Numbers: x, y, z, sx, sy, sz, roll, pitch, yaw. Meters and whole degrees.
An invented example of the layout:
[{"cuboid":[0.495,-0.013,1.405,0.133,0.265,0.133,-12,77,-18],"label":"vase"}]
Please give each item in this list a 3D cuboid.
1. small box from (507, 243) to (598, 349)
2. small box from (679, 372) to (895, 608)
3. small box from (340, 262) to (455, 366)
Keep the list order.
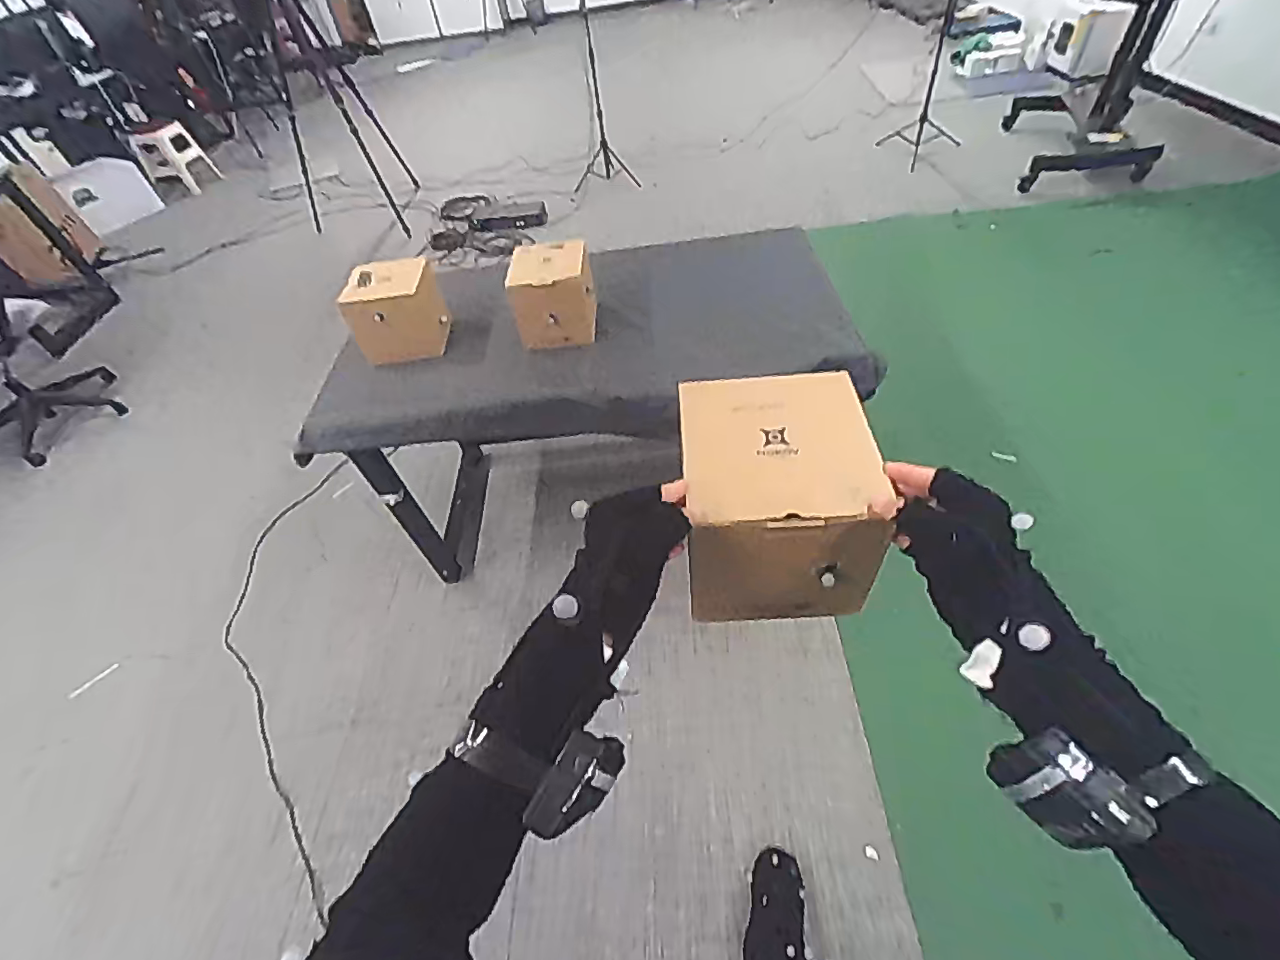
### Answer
[{"cuboid":[-0.194,-0.418,1.252,0.168,0.176,0.179,-5,49,4],"label":"small box"},{"cuboid":[0.128,0.017,0.542,0.168,0.176,0.179,-4,48,4],"label":"small box"},{"cuboid":[-0.562,-0.388,1.278,0.179,0.176,0.168,-8,49,0],"label":"small box"}]
